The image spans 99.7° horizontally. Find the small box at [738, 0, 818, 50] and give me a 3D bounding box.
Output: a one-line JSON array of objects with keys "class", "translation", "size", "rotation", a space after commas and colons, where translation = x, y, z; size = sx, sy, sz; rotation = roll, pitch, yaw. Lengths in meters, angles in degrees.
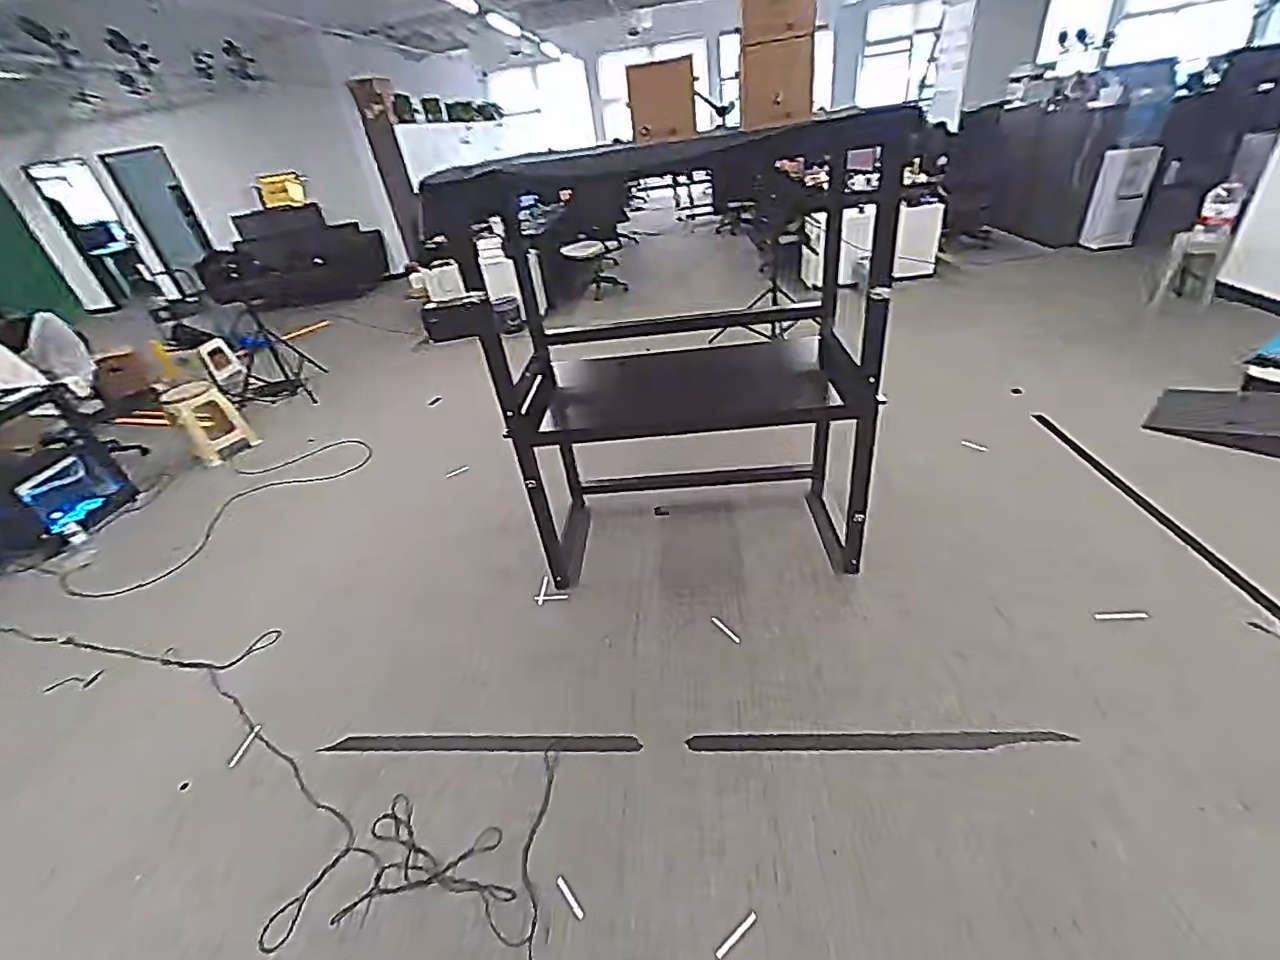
[{"class": "small box", "translation": [0.315, -1.106, 1.242], "size": [0.168, 0.176, 0.179], "rotation": [-3, 33, 9]}]

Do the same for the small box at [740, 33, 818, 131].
[{"class": "small box", "translation": [0.335, -0.969, 1.330], "size": [0.168, 0.176, 0.179], "rotation": [-5, 33, 8]}]

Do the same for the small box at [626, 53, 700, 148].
[{"class": "small box", "translation": [0.063, -0.948, 1.363], "size": [0.168, 0.176, 0.179], "rotation": [-4, 31, 7]}]
